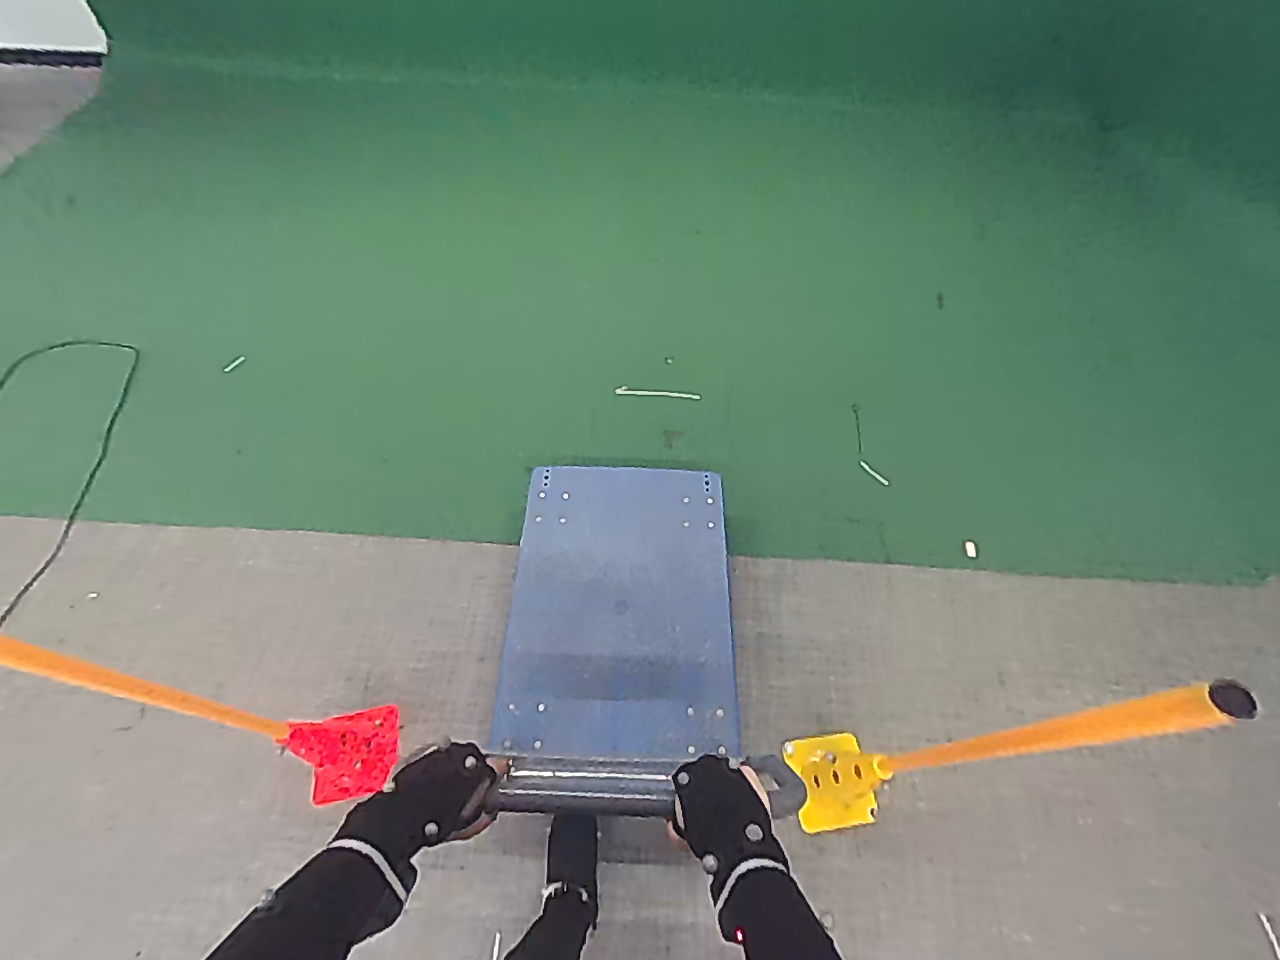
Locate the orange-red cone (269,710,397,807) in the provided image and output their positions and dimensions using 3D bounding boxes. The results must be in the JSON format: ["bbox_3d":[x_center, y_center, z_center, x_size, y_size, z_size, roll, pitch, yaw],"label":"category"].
[{"bbox_3d":[-0.710,0.595,1.200,0.199,0.360,0.198,-9,57,-7],"label":"orange-red cone"}]
